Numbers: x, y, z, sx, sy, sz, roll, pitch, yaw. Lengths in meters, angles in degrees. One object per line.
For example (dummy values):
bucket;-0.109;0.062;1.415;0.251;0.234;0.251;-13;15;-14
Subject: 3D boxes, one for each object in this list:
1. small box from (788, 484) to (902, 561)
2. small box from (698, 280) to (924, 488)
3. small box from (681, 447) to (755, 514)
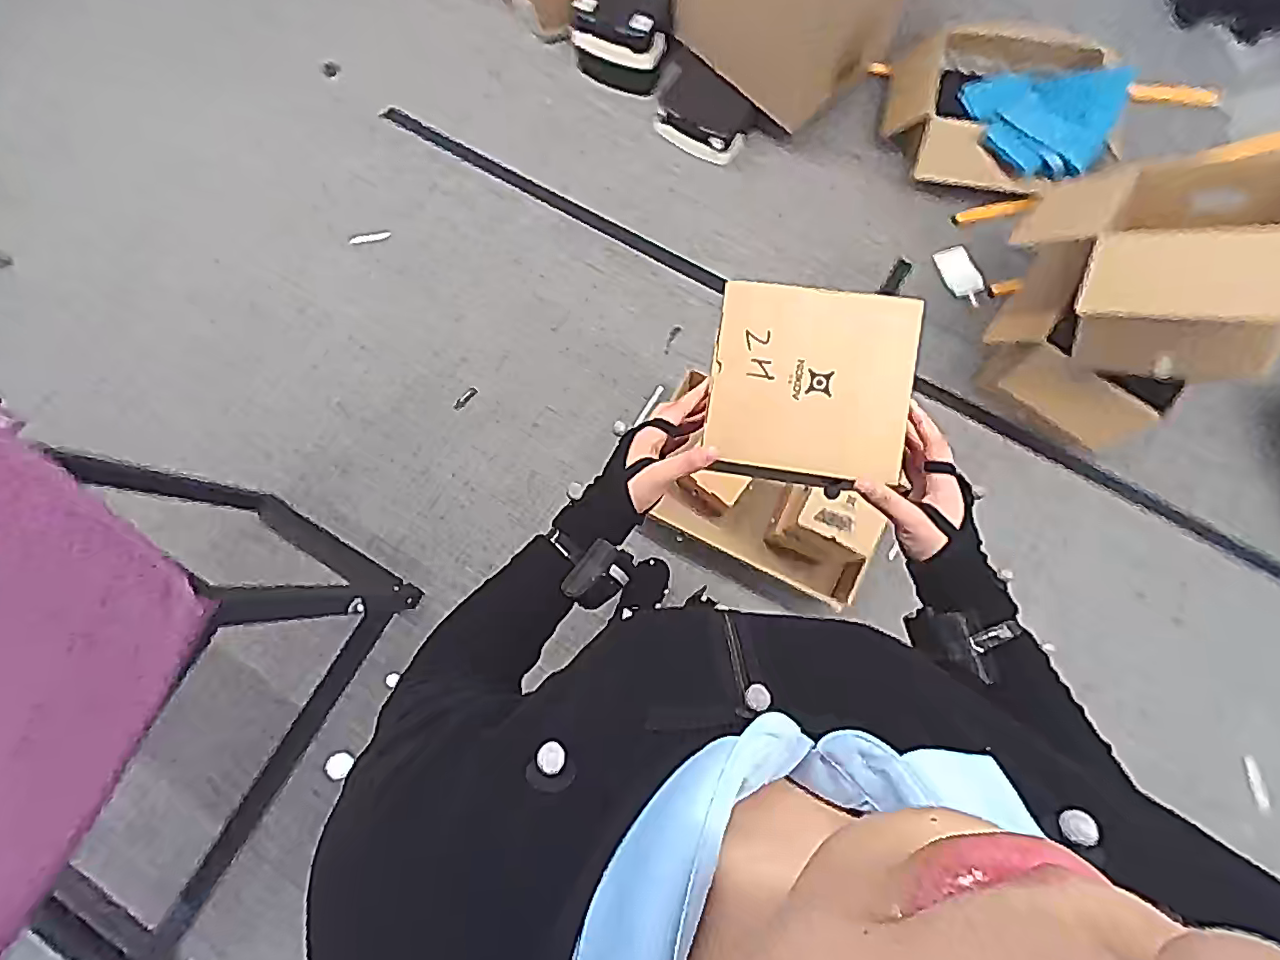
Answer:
small box;0.451;0.071;1.223;0.168;0.176;0.179;27;81;8
small box;0.157;-0.084;0.553;0.179;0.176;0.168;8;88;7
small box;0.219;-0.031;1.426;0.168;0.176;0.179;37;83;8
